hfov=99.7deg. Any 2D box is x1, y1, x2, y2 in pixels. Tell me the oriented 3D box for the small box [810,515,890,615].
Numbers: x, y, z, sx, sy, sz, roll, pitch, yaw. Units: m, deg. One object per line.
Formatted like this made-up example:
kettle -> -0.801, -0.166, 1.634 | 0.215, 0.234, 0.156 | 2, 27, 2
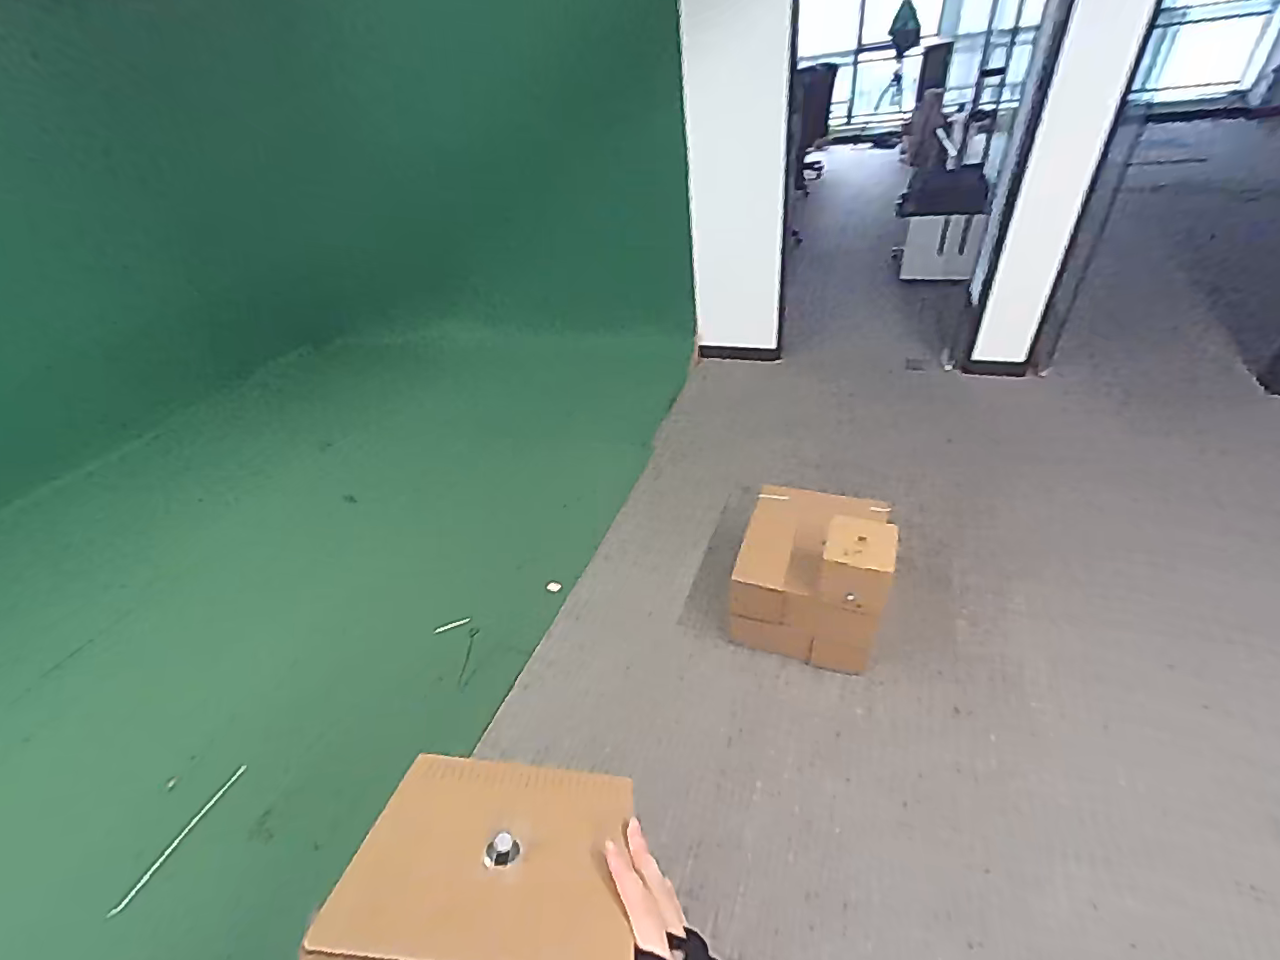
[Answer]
small box -> 0.551, 0.223, 1.429 | 0.168, 0.176, 0.179 | 10, 41, 21
